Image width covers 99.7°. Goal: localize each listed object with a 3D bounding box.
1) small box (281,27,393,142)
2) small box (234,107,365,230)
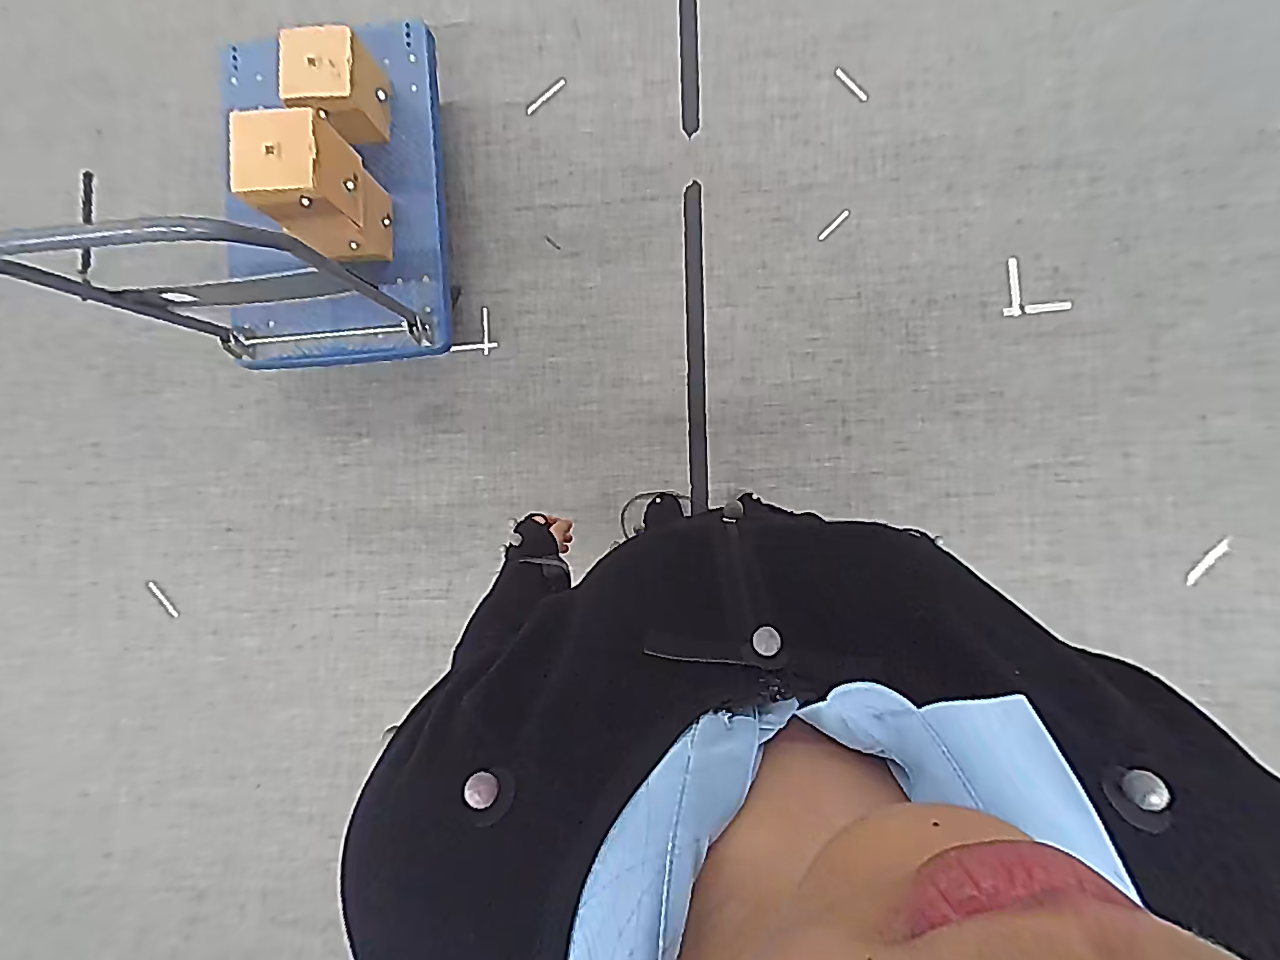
[{"bbox_3d":[-0.734,-0.954,1.320,0.179,0.176,0.168,0,90,4],"label":"small box"},{"bbox_3d":[-0.717,-0.651,1.151,0.179,0.176,0.168,-2,88,3],"label":"small box"}]
